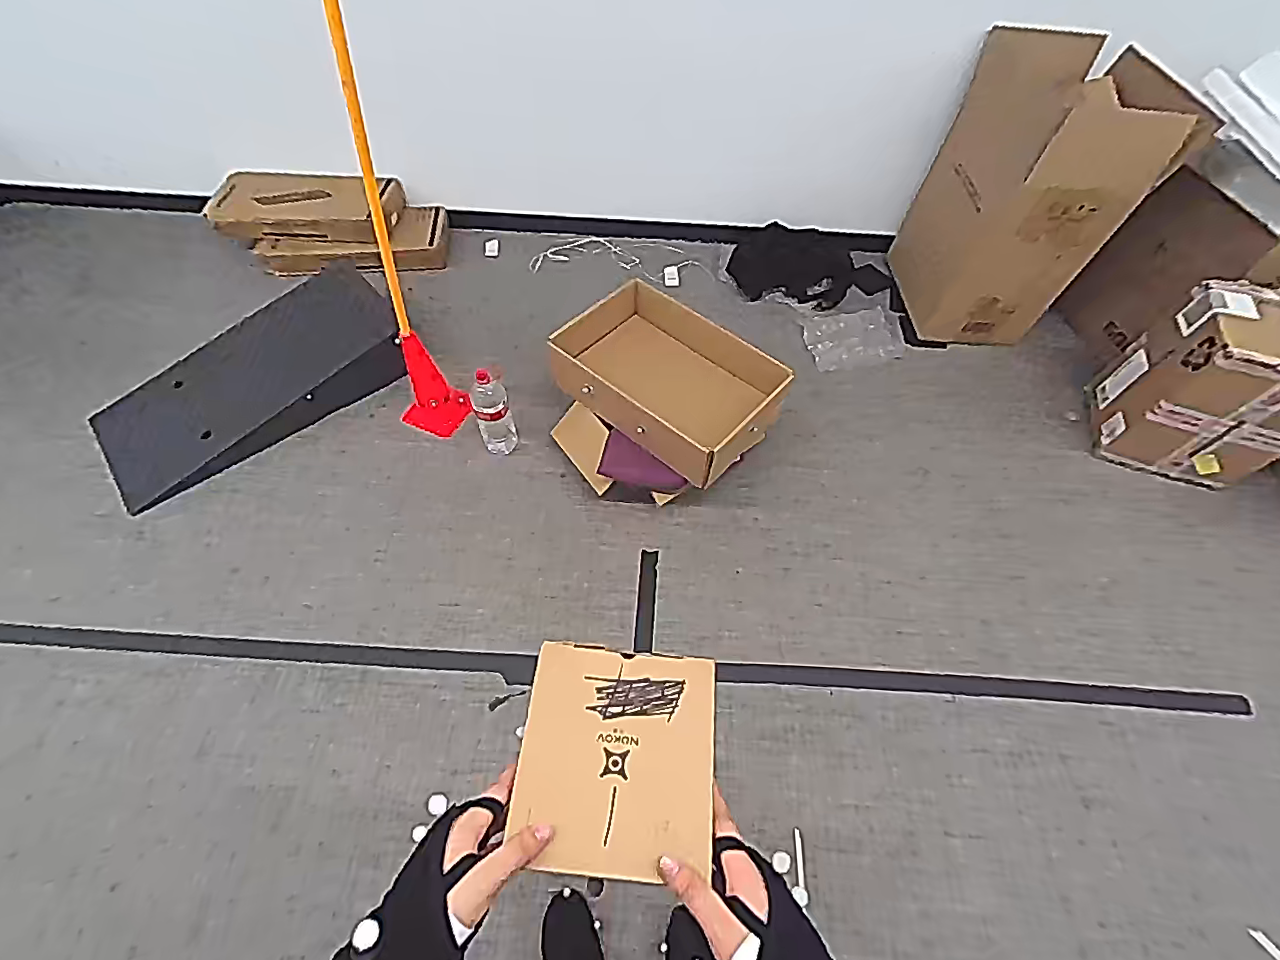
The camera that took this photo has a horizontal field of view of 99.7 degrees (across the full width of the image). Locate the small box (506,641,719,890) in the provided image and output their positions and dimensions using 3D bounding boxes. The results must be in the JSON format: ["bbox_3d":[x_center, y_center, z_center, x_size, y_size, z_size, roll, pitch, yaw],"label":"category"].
[{"bbox_3d":[-0.021,0.277,0.525,0.168,0.176,0.179,6,56,0],"label":"small box"}]
